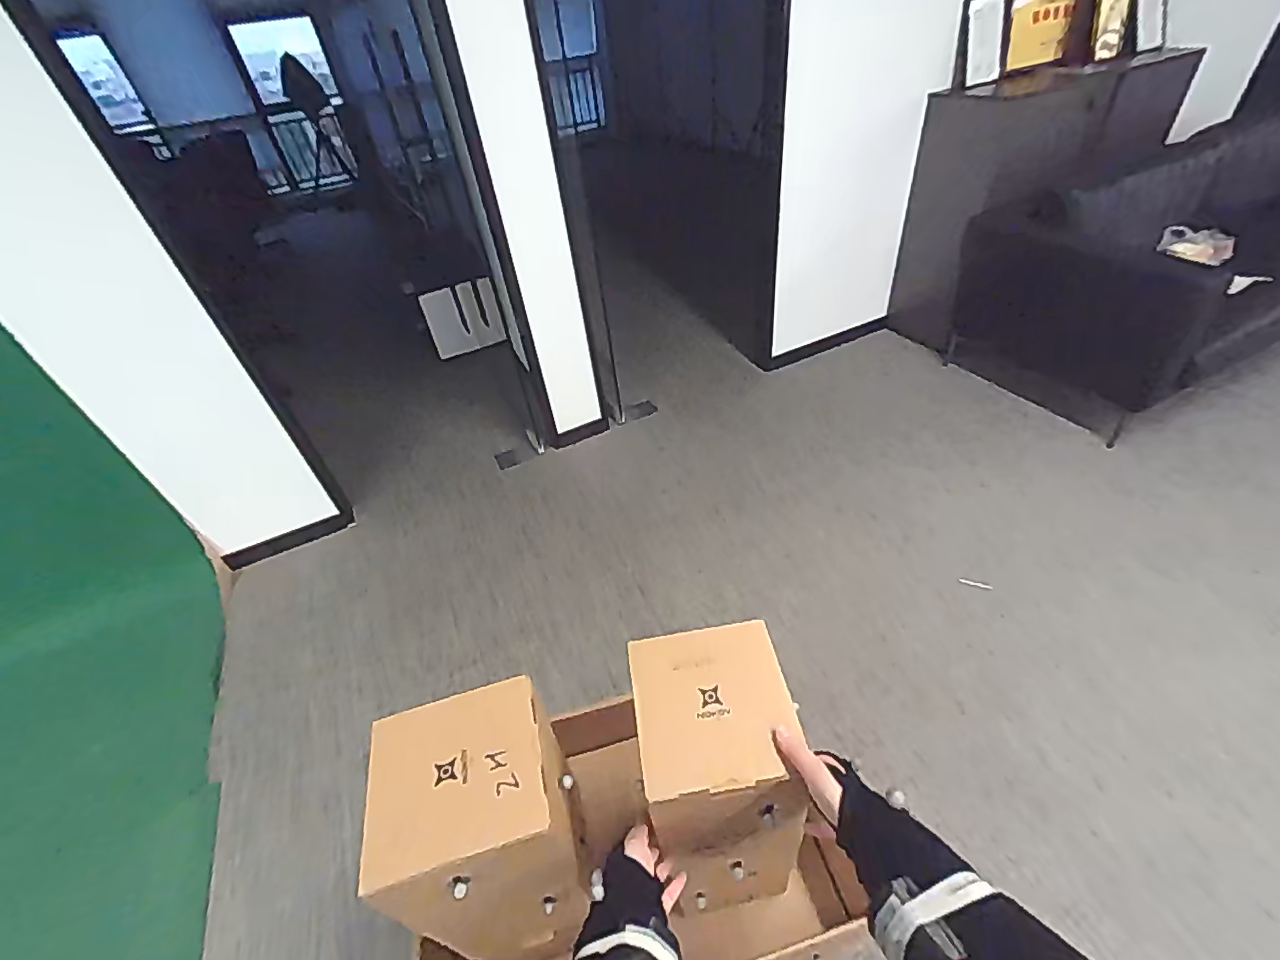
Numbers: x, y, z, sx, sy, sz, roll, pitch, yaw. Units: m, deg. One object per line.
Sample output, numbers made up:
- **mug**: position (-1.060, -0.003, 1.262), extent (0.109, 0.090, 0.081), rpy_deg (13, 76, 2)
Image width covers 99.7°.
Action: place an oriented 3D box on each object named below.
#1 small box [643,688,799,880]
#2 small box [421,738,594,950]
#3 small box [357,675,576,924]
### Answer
- **small box**: position (0.103, 0.415, 0.733), extent (0.168, 0.176, 0.179), rpy_deg (-10, 42, -2)
- **small box**: position (-0.168, 0.476, 0.708), extent (0.179, 0.176, 0.168), rpy_deg (-13, 41, -9)
- **small box**: position (-0.180, 0.352, 0.599), extent (0.179, 0.176, 0.168), rpy_deg (-14, 42, -9)
